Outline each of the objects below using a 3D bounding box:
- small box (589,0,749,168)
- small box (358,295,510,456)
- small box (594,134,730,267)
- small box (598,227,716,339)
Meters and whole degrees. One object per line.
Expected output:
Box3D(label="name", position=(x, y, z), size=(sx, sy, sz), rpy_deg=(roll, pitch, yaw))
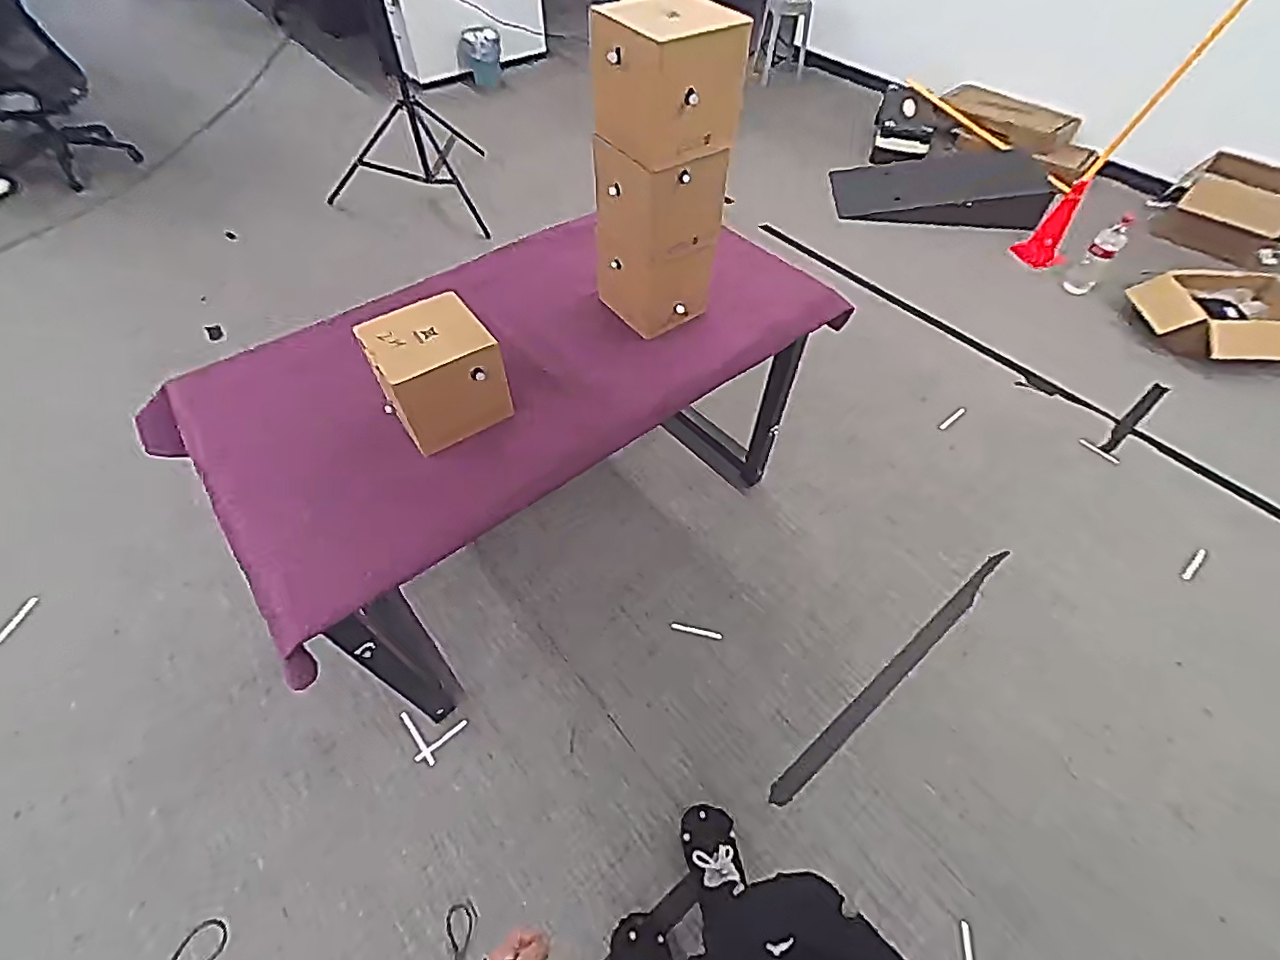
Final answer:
Box3D(label="small box", position=(0.041, -0.605, 0.830), size=(0.168, 0.176, 0.179), rpy_deg=(-30, 60, -19))
Box3D(label="small box", position=(-0.336, -0.175, 0.919), size=(0.179, 0.176, 0.168), rpy_deg=(-31, 60, -20))
Box3D(label="small box", position=(0.034, -0.514, 0.966), size=(0.168, 0.176, 0.179), rpy_deg=(-29, 59, -19))
Box3D(label="small box", position=(0.030, -0.421, 1.101), size=(0.168, 0.176, 0.179), rpy_deg=(-31, 61, -20))
